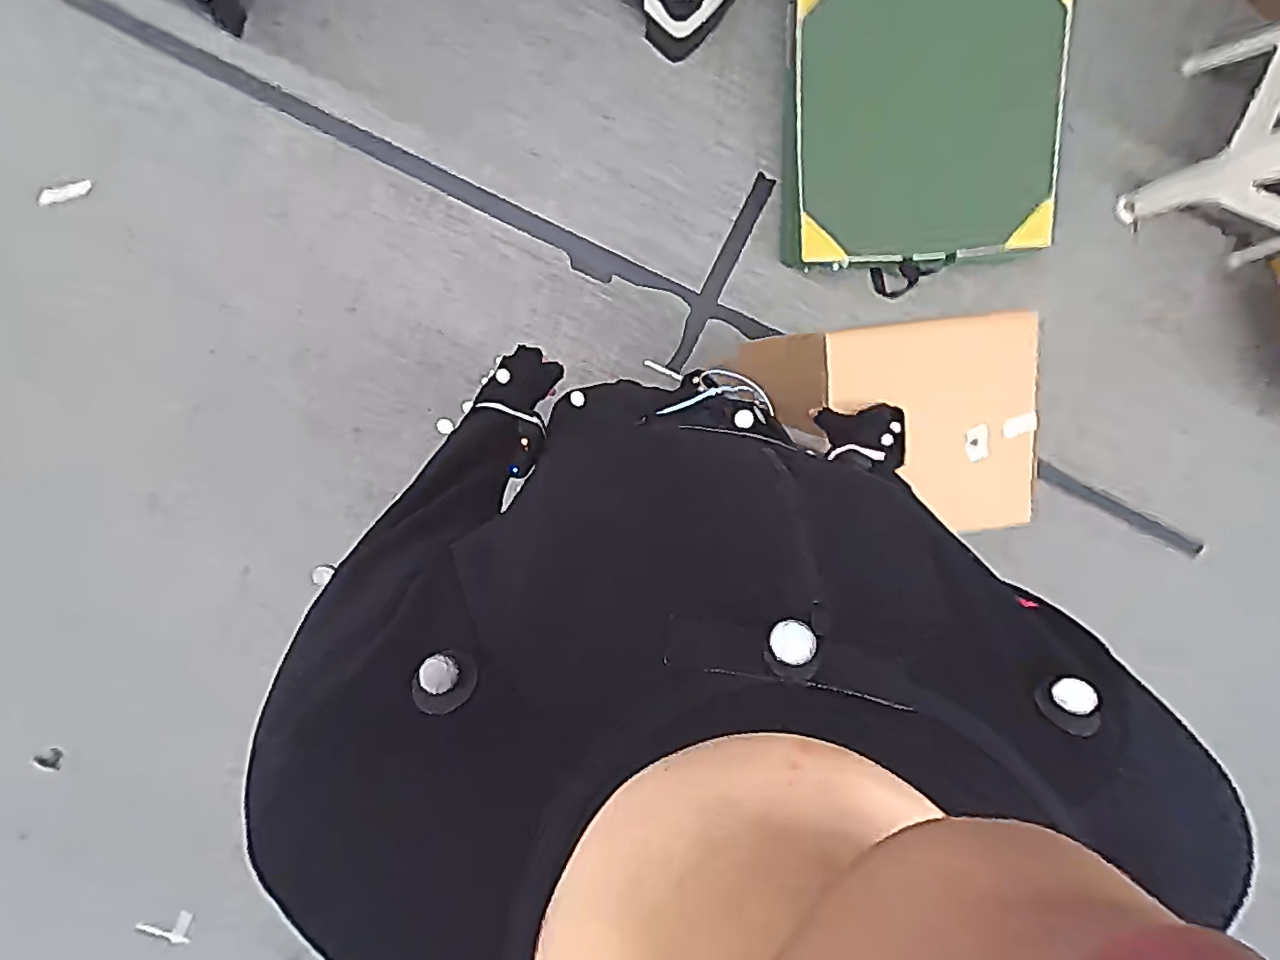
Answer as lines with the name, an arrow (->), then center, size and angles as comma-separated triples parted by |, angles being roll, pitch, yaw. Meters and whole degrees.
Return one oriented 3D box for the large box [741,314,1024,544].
large box -> 0.394, -0.107, 0.969 | 0.320, 0.408, 0.320 | -6, 103, -4
